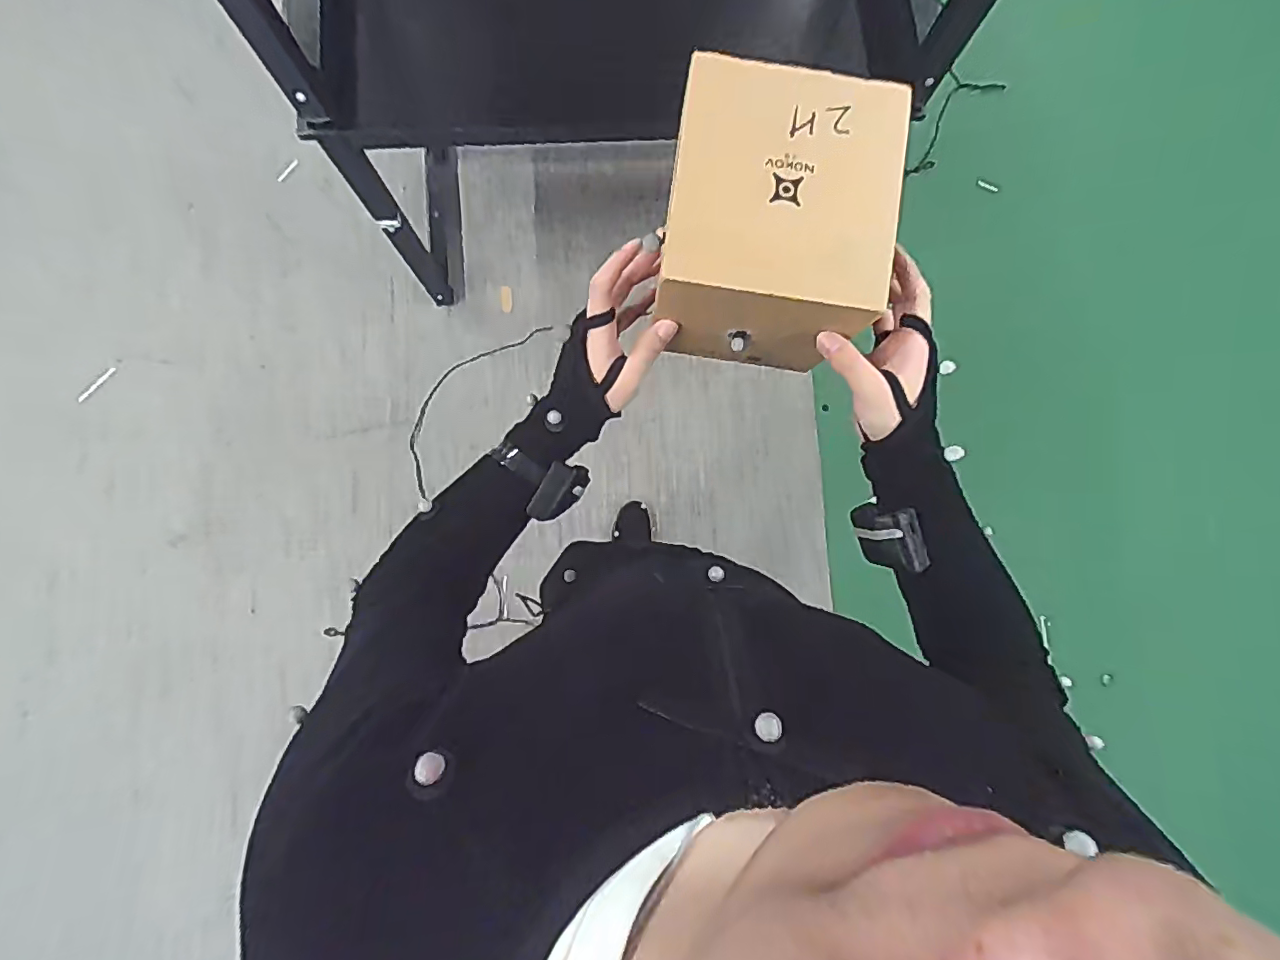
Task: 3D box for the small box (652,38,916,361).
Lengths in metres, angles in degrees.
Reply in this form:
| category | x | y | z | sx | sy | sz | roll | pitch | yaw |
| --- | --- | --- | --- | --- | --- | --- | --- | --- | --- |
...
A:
| category | x | y | z | sx | sy | sz | roll | pitch | yaw |
| --- | --- | --- | --- | --- | --- | --- | --- | --- | --- |
| small box | 0.103 | -0.214 | 0.462 | 0.168 | 0.176 | 0.179 | 9 | 86 | -1 |
